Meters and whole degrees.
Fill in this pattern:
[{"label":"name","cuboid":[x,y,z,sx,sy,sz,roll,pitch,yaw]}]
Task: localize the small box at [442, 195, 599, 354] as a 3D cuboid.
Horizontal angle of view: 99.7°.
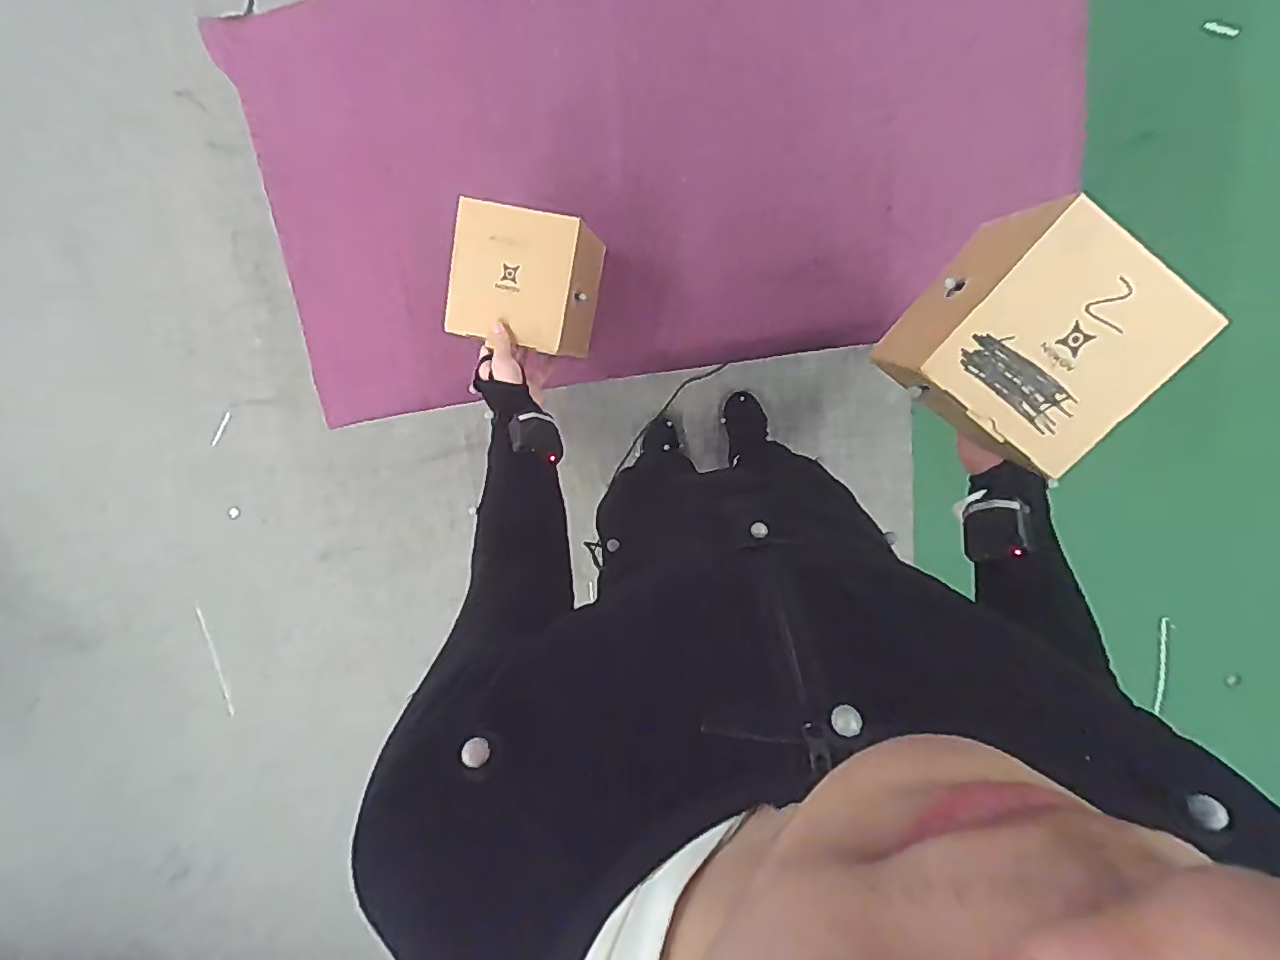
[{"label":"small box","cuboid":[-0.166,-0.286,0.791,0.168,0.176,0.179,13,103,5]}]
